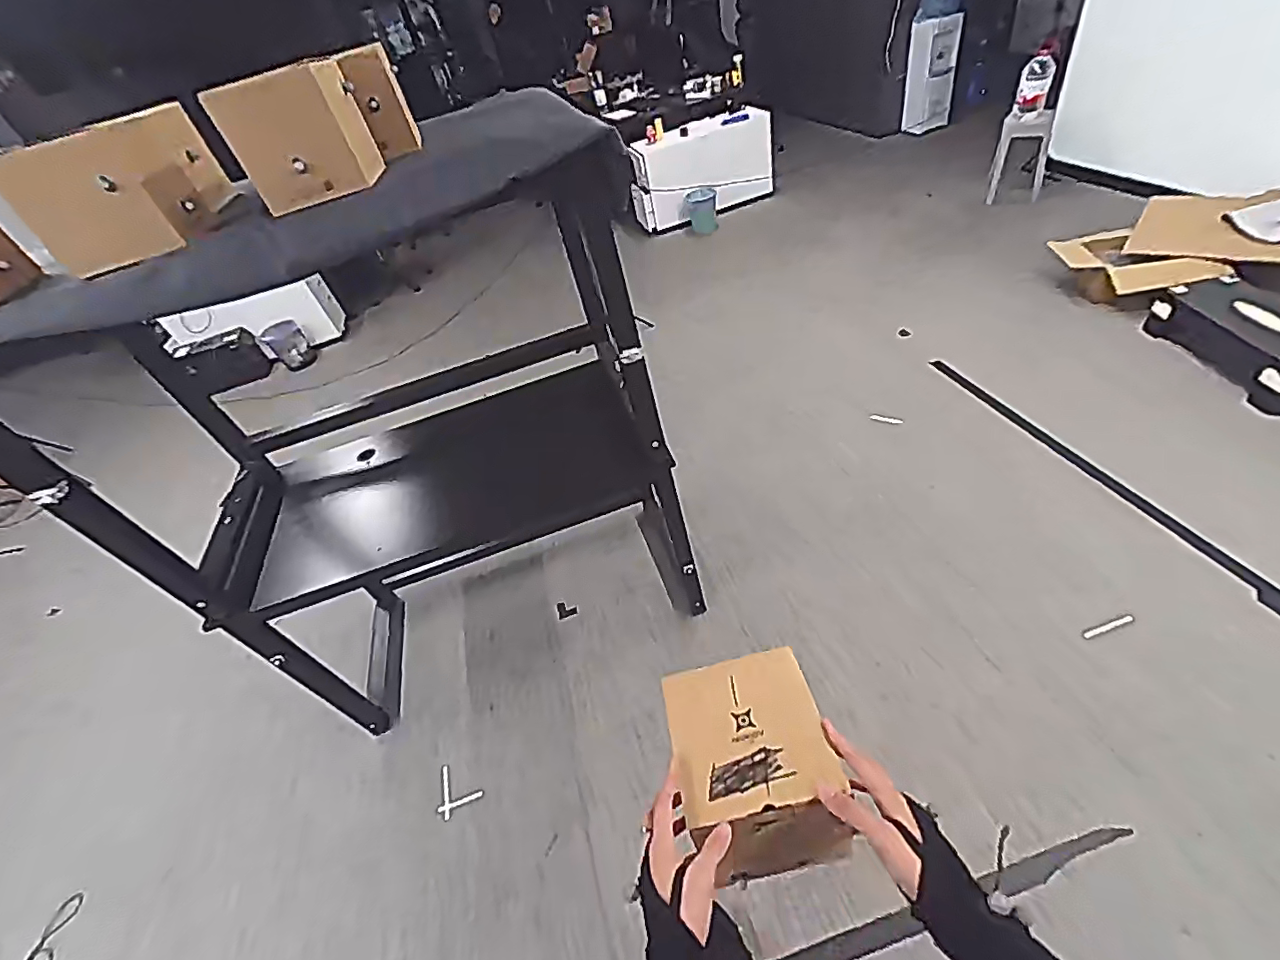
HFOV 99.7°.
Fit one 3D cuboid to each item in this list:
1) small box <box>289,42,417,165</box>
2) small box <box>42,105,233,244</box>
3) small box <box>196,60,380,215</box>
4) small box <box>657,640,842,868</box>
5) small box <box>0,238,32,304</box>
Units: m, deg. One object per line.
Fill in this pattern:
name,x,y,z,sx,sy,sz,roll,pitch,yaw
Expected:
small box,-0.544,-0.710,1.039,0.168,0.176,0.179,-20,44,-6
small box,-0.921,-0.573,1.017,0.179,0.176,0.168,-19,43,-3
small box,-0.549,-0.552,0.876,0.168,0.176,0.179,-18,42,-1
small box,0.128,0.328,0.641,0.168,0.176,0.179,-15,36,2
small box,-1.117,-0.335,0.826,0.168,0.176,0.179,-21,43,-6
